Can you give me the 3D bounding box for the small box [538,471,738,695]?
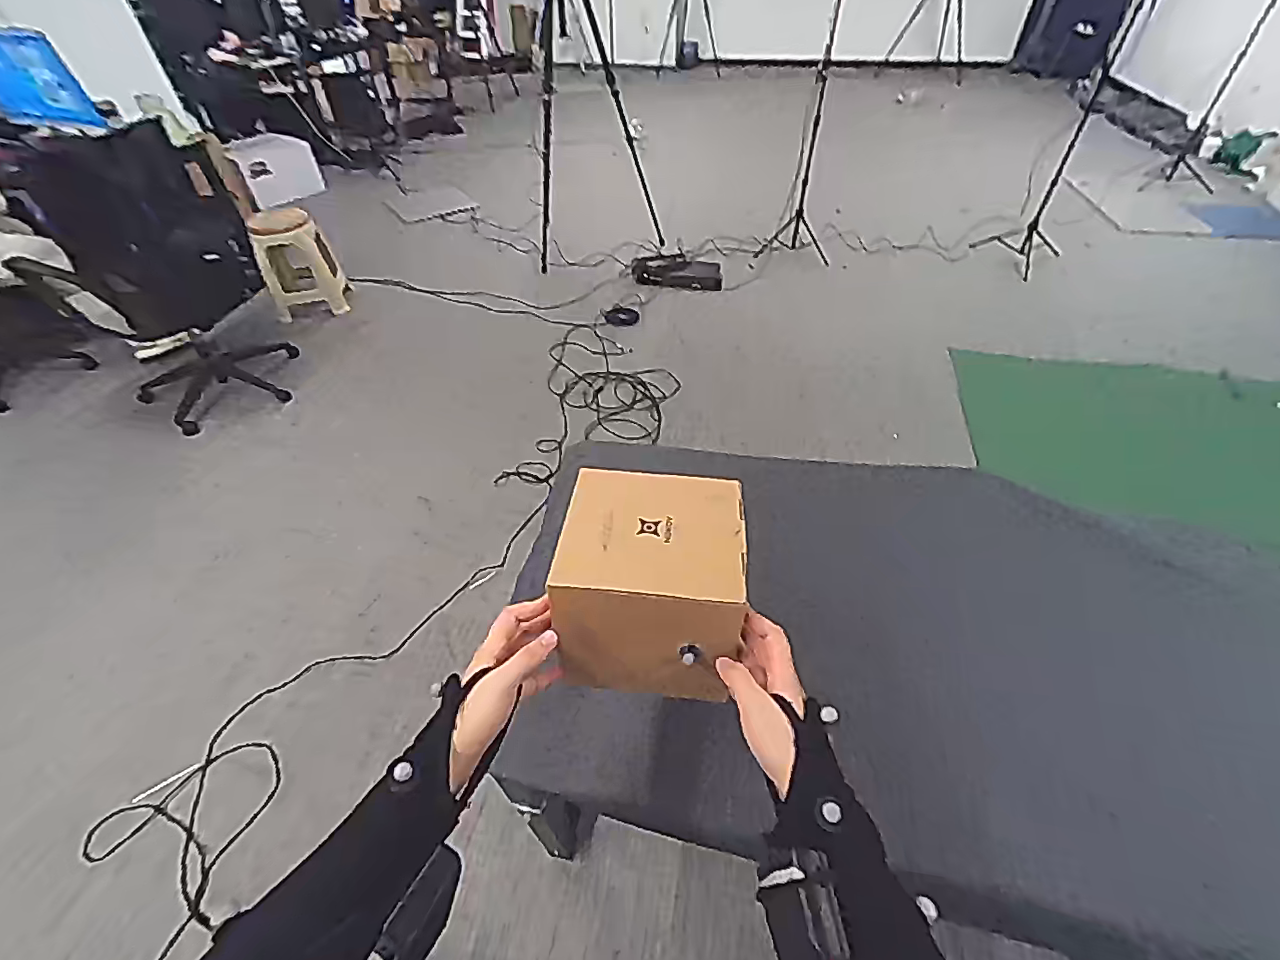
[{"bbox_3d":[0.005,0.110,0.576,0.179,0.176,0.168,3,39,5],"label":"small box"}]
